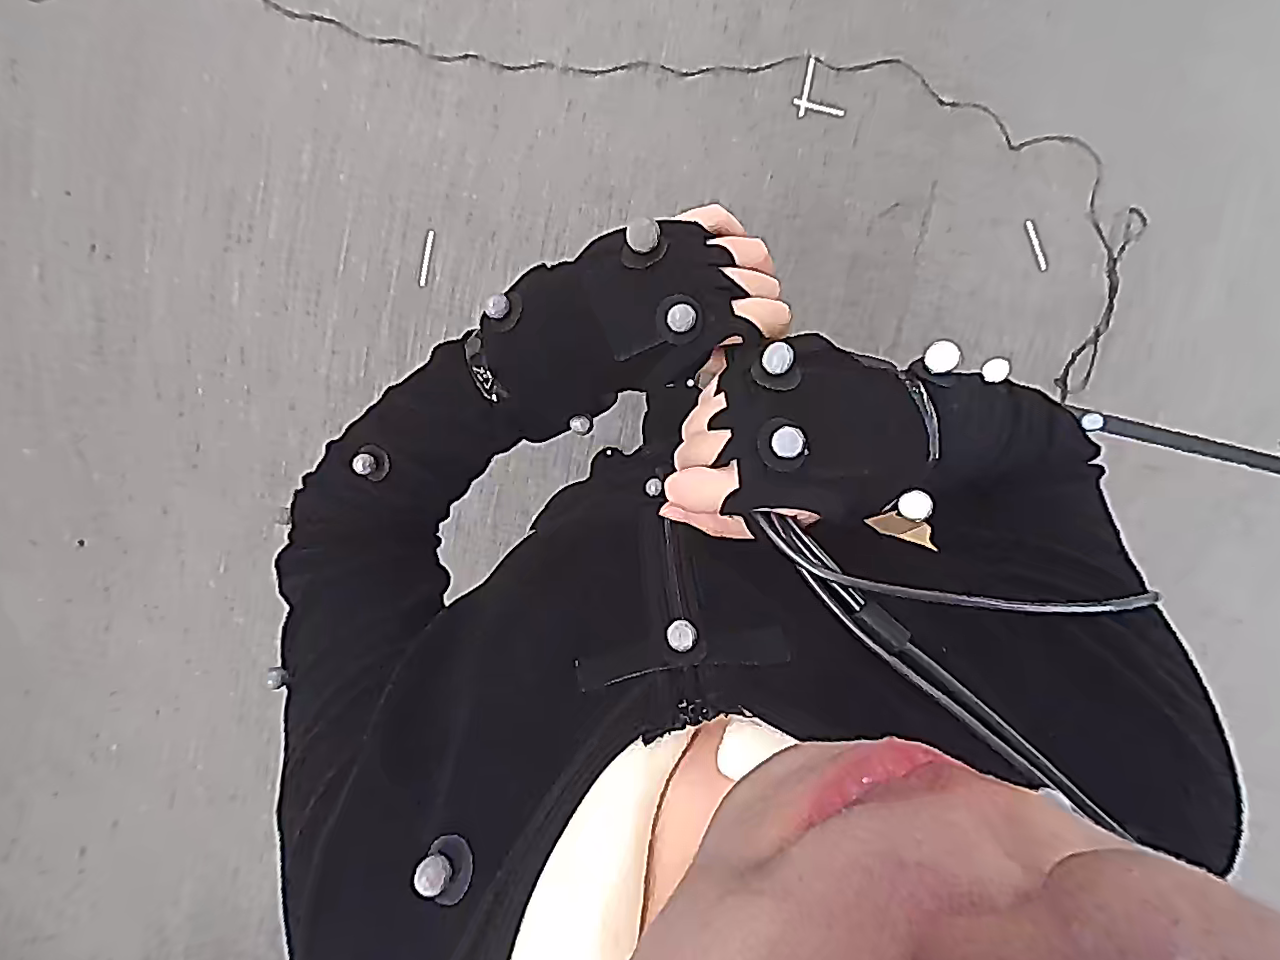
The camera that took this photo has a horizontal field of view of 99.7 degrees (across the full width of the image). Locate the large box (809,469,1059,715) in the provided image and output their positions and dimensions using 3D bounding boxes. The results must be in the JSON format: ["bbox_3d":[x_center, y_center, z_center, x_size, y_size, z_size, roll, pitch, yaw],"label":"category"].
[{"bbox_3d":[0.638,0.226,1.226,0.320,0.320,0.408,-21,99,0],"label":"large box"}]
